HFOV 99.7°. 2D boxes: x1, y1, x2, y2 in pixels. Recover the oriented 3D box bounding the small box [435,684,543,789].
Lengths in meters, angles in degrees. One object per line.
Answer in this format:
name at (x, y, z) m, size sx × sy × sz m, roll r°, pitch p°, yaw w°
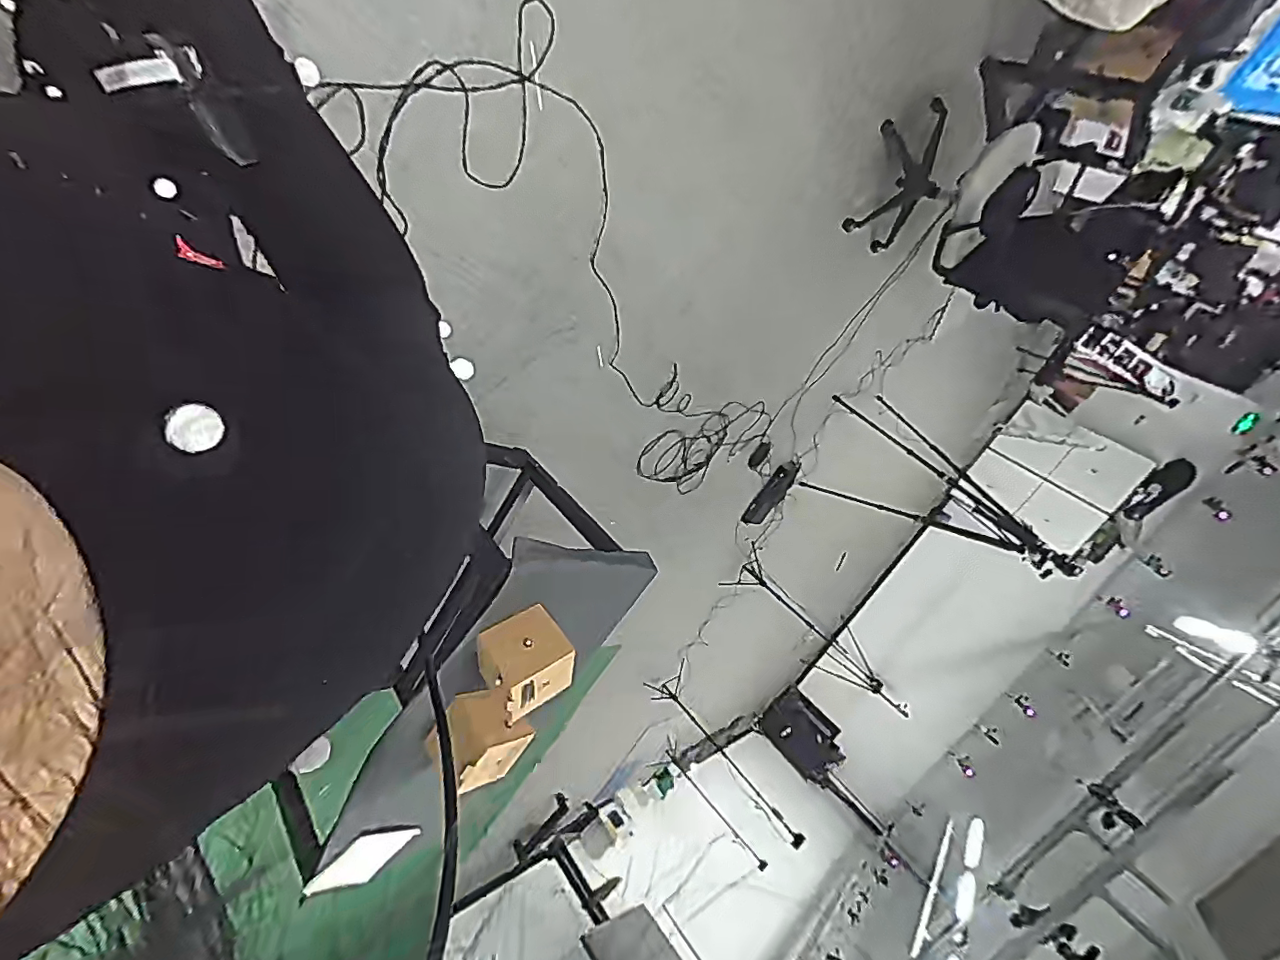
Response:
small box at (-0.398, 0.661, 1.421) m, size 0.168 × 0.176 × 0.179 m, roll -56°, pitch 147°, yaw 10°
